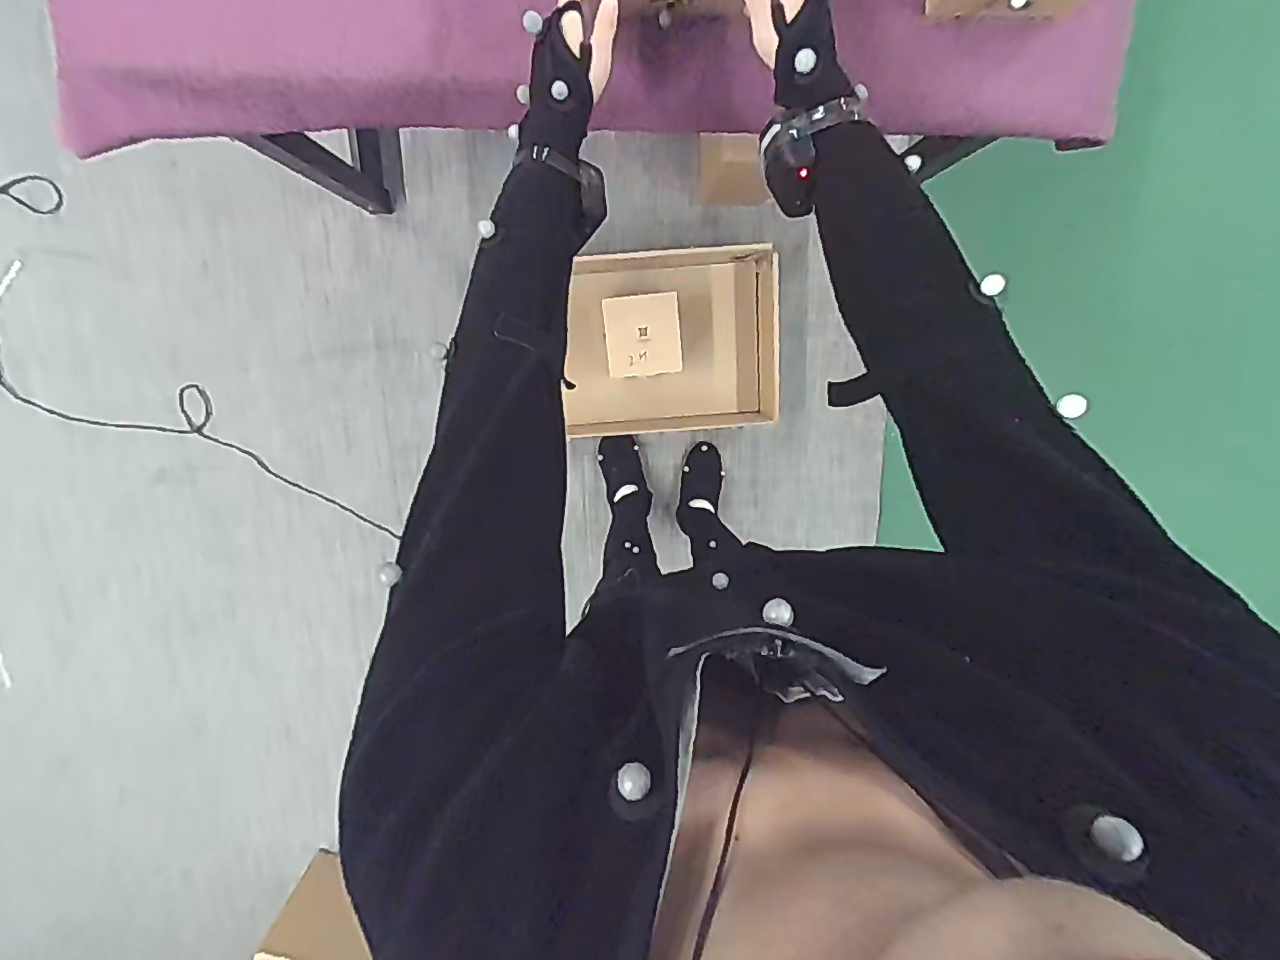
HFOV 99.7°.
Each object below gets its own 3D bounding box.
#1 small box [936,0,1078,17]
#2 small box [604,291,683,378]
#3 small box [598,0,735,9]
[{"bbox_3d":[0.406,-0.596,0.516,0.168,0.176,0.179,0,102,-1],"label":"small box"},{"bbox_3d":[0.006,-0.334,1.258,0.168,0.176,0.179,-5,104,0],"label":"small box"},{"bbox_3d":[0.028,-0.551,0.491,0.168,0.176,0.179,-2,124,-2],"label":"small box"}]
